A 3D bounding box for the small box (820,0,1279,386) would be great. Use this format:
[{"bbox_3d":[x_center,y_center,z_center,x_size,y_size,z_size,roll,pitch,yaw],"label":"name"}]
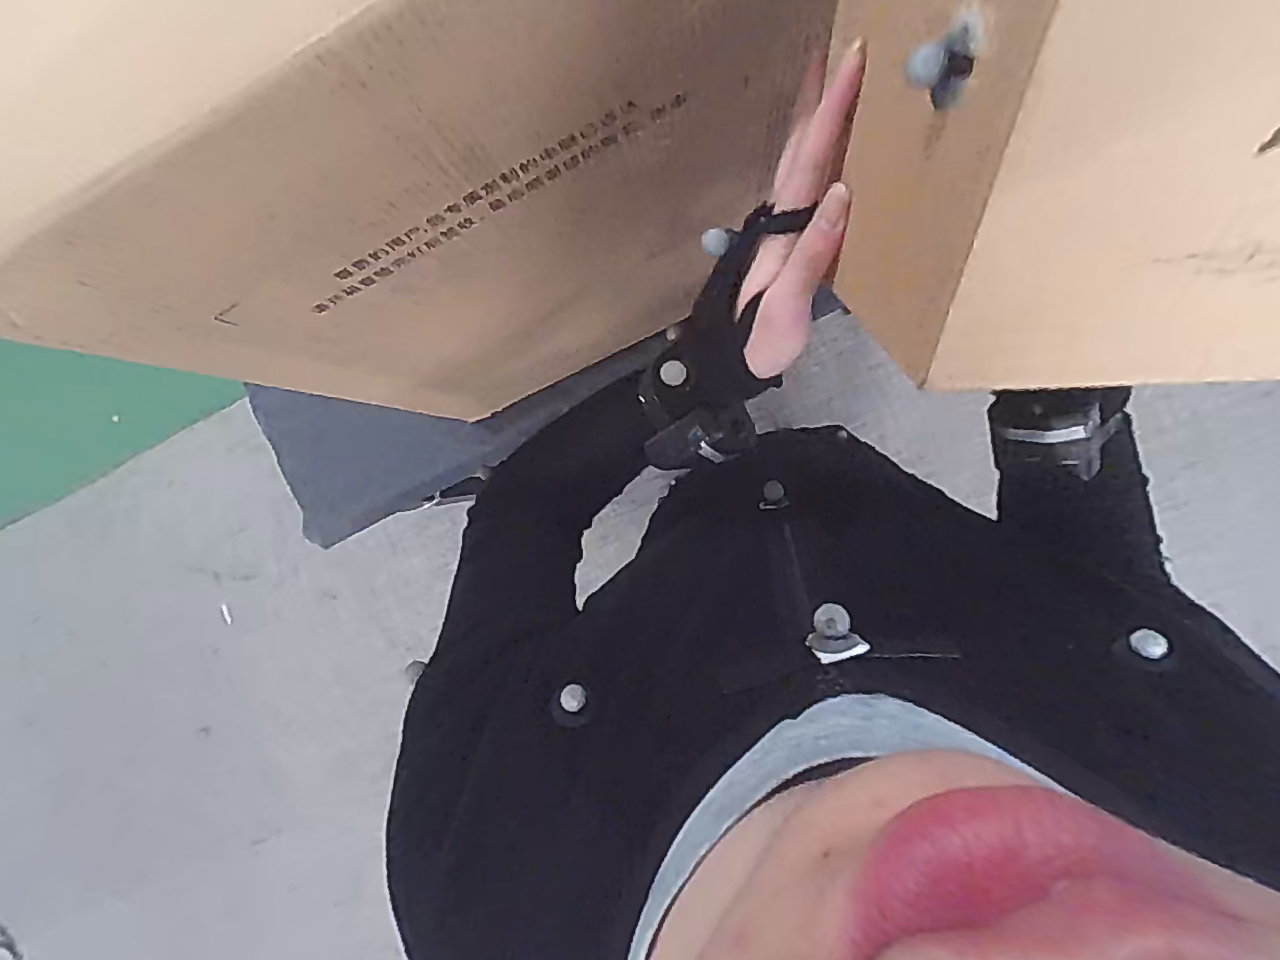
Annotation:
[{"bbox_3d":[0.183,-0.155,0.205,0.168,0.176,0.179,-3,129,-1],"label":"small box"}]
